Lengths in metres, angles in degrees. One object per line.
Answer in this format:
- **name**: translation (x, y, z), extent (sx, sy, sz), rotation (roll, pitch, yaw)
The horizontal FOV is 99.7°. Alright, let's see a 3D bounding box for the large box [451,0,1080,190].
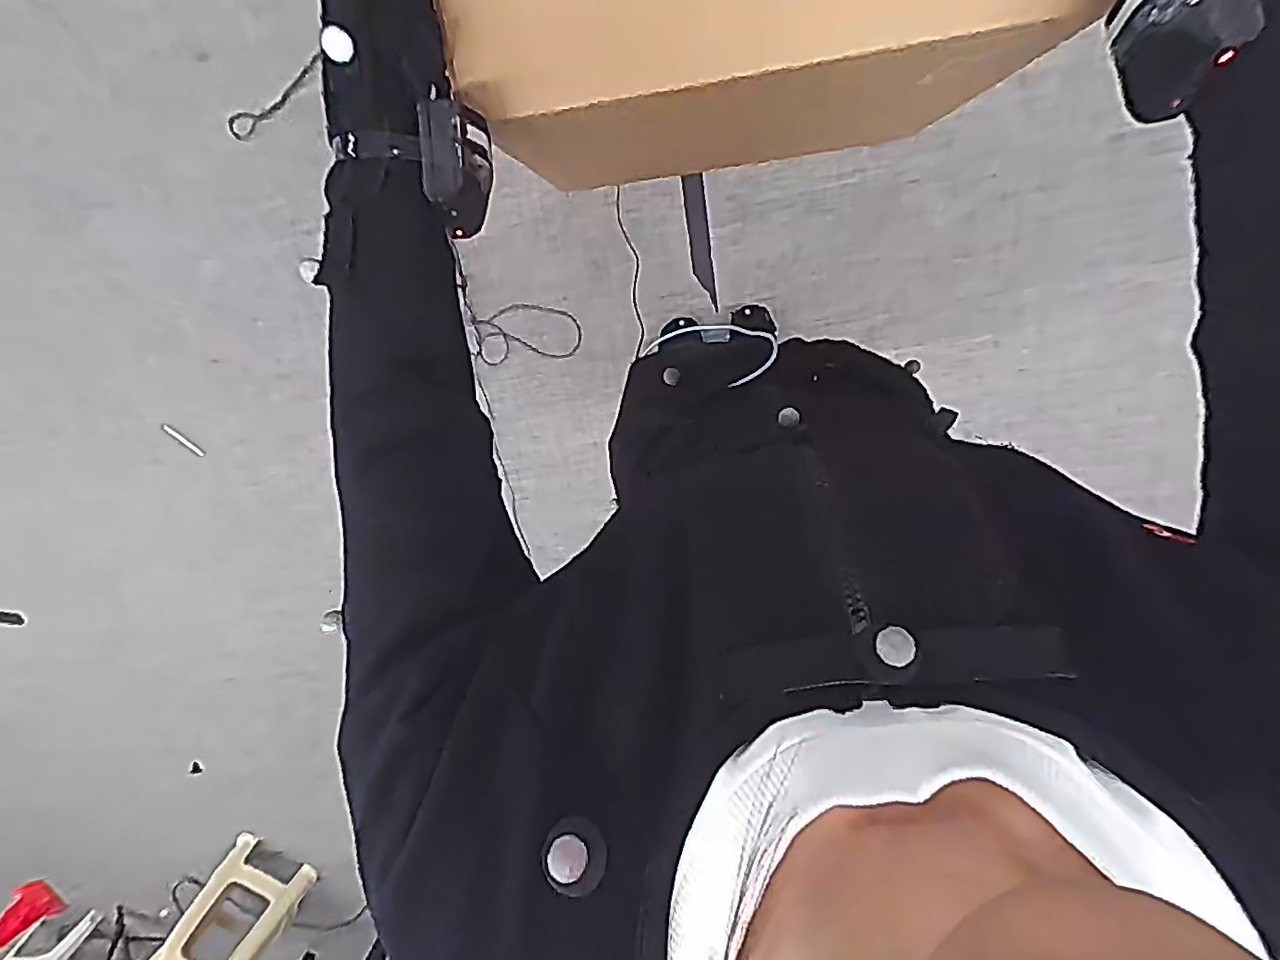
- **large box**: translation (0.068, -0.459, 0.433), extent (0.408, 0.320, 0.320), rotation (-7, 110, 6)
